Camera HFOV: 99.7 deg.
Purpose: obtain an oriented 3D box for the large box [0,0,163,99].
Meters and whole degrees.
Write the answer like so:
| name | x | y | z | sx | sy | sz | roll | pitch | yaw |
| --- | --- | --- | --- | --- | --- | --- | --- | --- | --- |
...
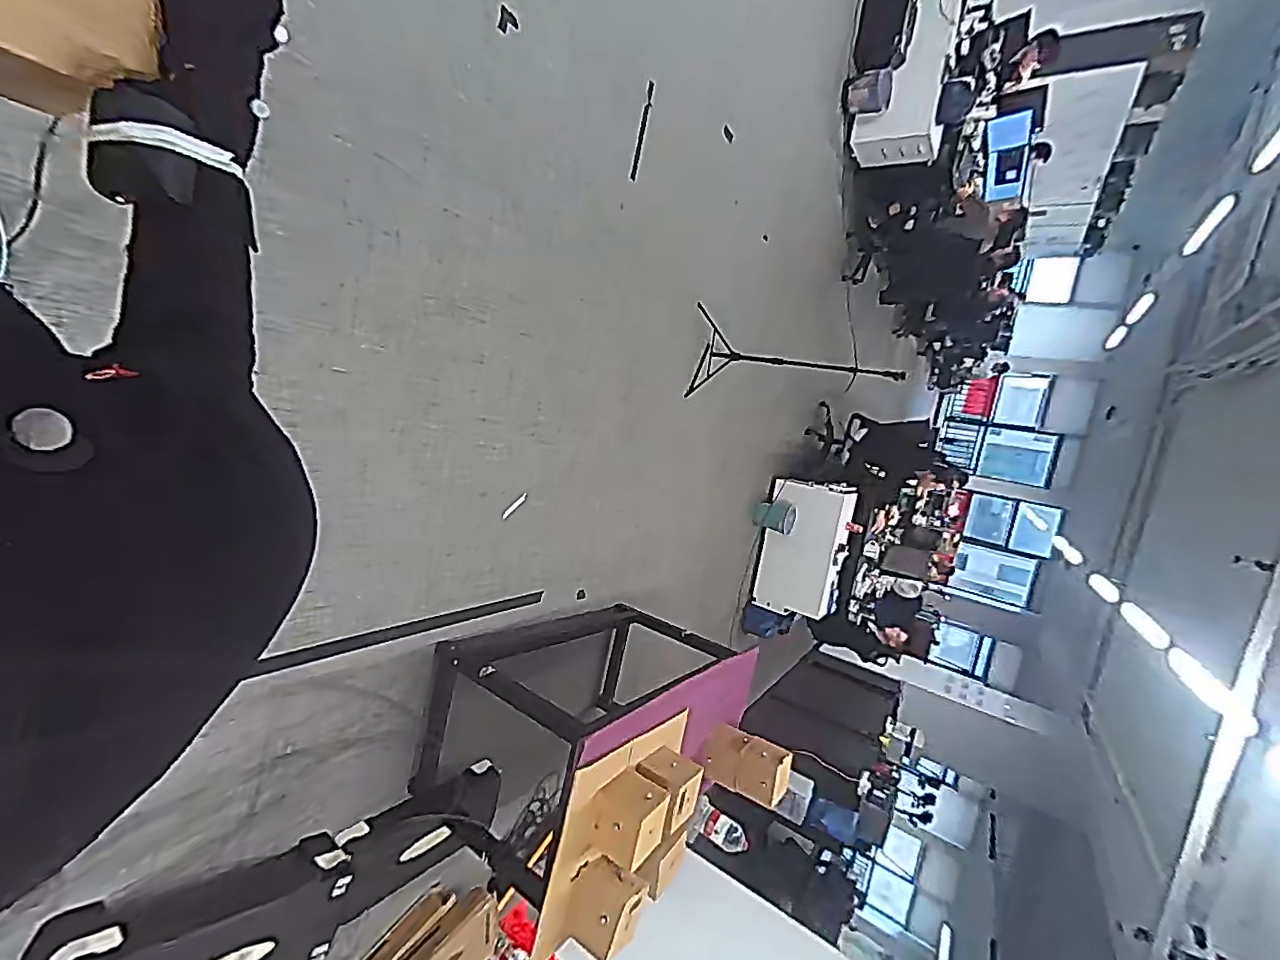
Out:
| name | x | y | z | sx | sy | sz | roll | pitch | yaw |
| --- | --- | --- | --- | --- | --- | --- | --- | --- | --- |
| large box | -0.537 | -0.463 | 0.268 | 0.408 | 0.320 | 0.320 | -2 | 112 | -58 |
